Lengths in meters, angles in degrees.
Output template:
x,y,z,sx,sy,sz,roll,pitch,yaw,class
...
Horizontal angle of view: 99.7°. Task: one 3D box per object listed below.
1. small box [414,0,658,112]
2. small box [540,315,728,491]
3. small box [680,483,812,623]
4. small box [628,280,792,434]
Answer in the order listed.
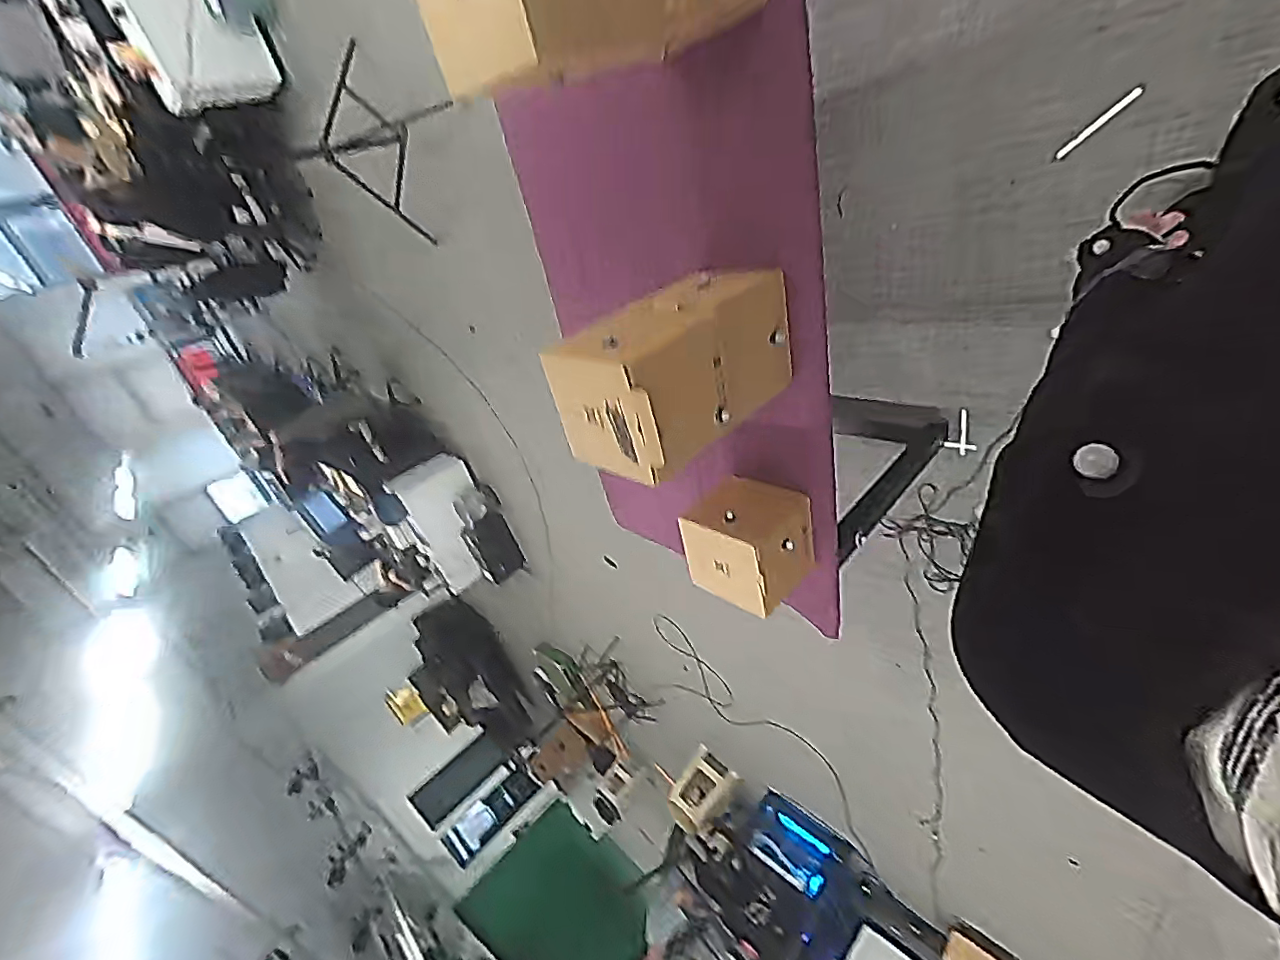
x,y,z,sx,sy,sz,roll,pitch,yaw,class
-0.103,-0.477,0.508,0.168,0.176,0.179,20,136,43,small box
0.002,-0.113,0.725,0.179,0.176,0.168,19,135,43,small box
0.206,0.124,1.005,0.179,0.176,0.168,19,133,44,small box
0.112,-0.195,0.818,0.168,0.176,0.179,18,134,43,small box
